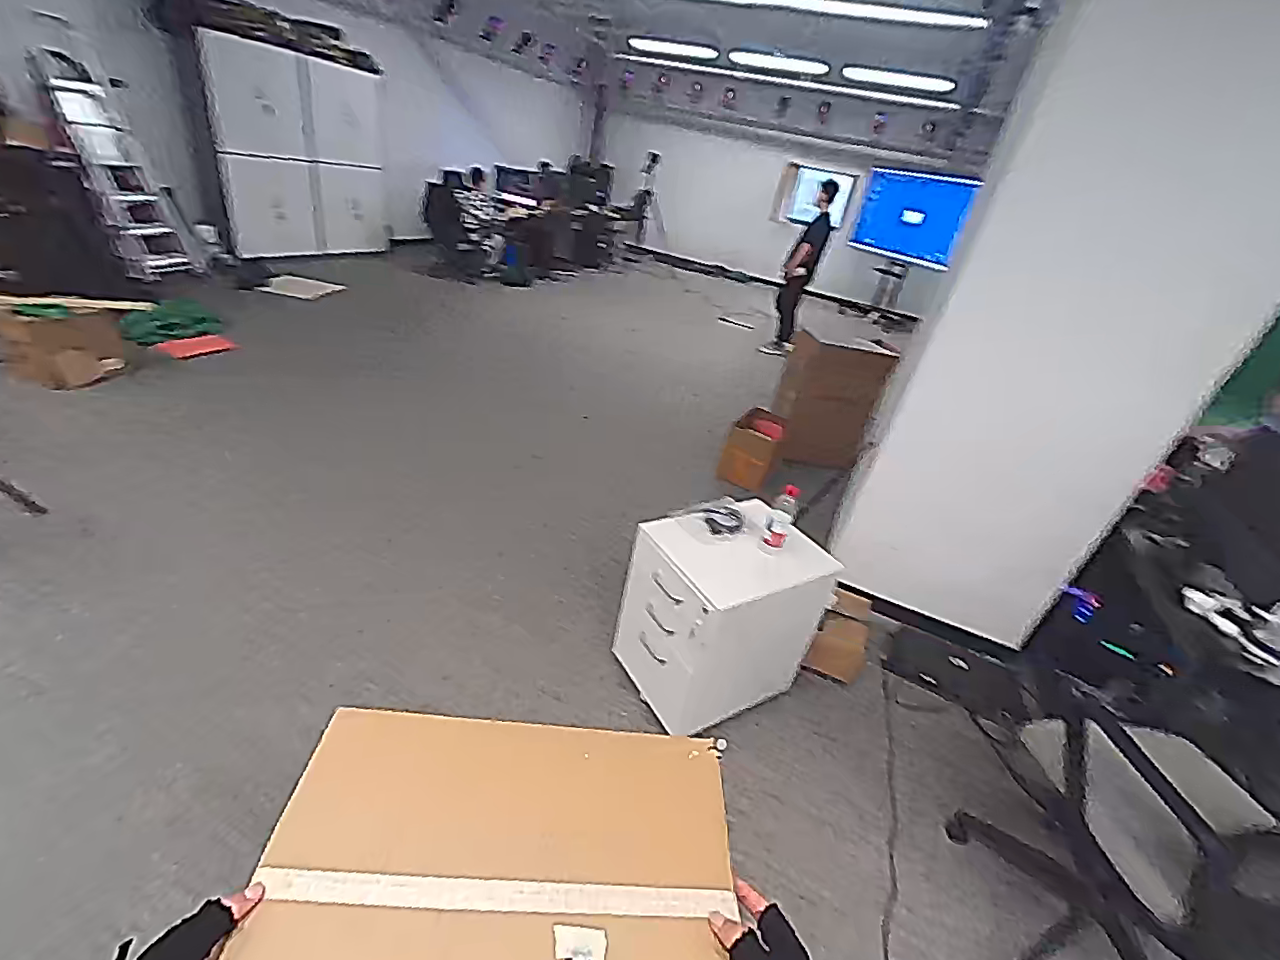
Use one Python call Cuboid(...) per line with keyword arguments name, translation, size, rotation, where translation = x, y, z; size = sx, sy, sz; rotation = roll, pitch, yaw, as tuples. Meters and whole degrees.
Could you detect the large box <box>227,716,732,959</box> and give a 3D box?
Cuboid(name="large box", translation=(-0.145, 0.480, 0.551), size=(0.408, 0.320, 0.320), rotation=(8, 34, -7))
